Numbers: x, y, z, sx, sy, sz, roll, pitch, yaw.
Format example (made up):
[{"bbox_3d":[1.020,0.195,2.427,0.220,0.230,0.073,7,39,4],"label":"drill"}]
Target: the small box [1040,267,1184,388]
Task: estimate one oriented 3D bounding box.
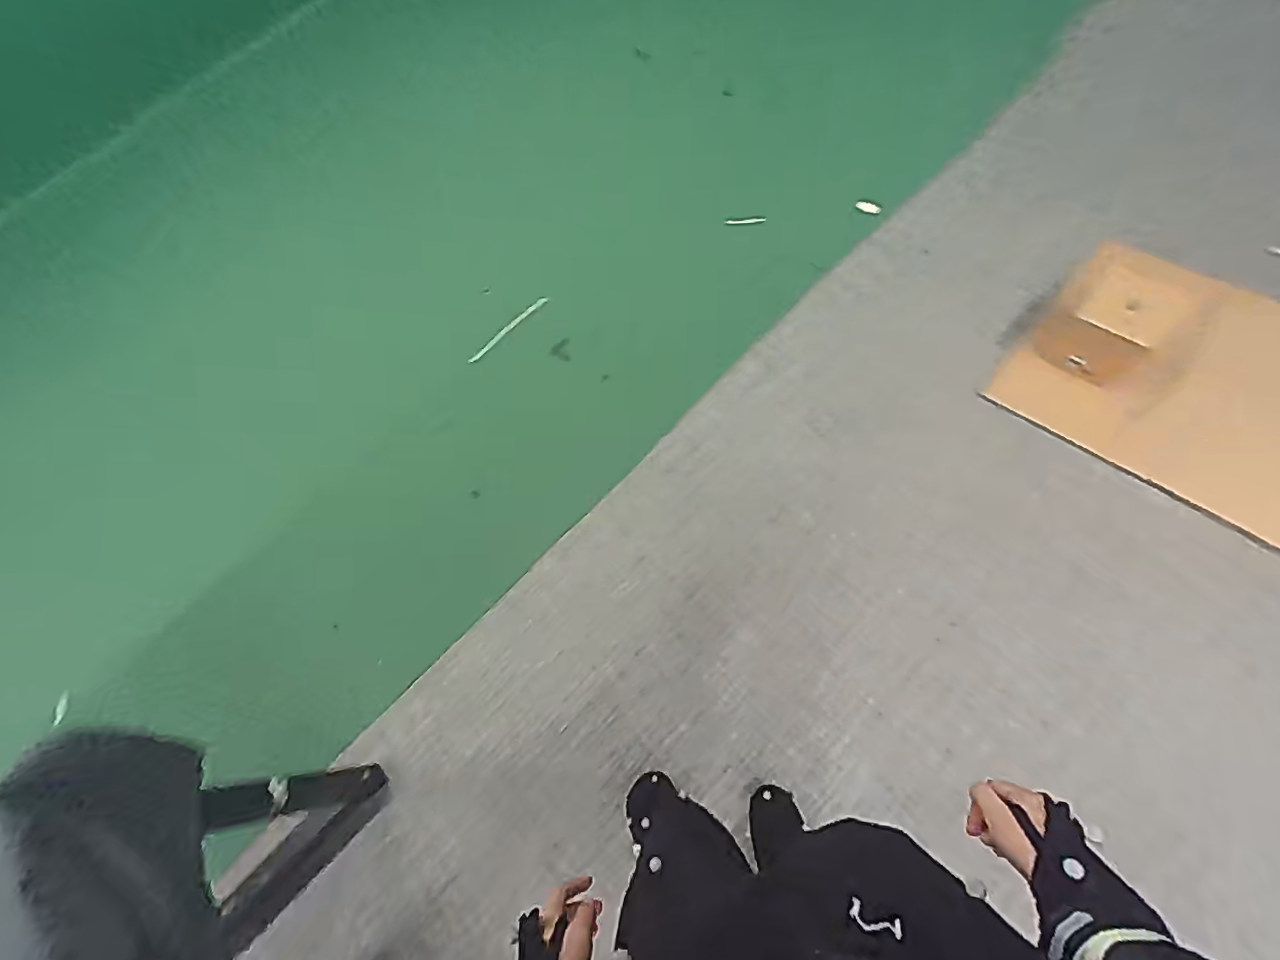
[{"bbox_3d":[1.096,-0.355,1.275,0.168,0.176,0.179,38,79,24],"label":"small box"}]
